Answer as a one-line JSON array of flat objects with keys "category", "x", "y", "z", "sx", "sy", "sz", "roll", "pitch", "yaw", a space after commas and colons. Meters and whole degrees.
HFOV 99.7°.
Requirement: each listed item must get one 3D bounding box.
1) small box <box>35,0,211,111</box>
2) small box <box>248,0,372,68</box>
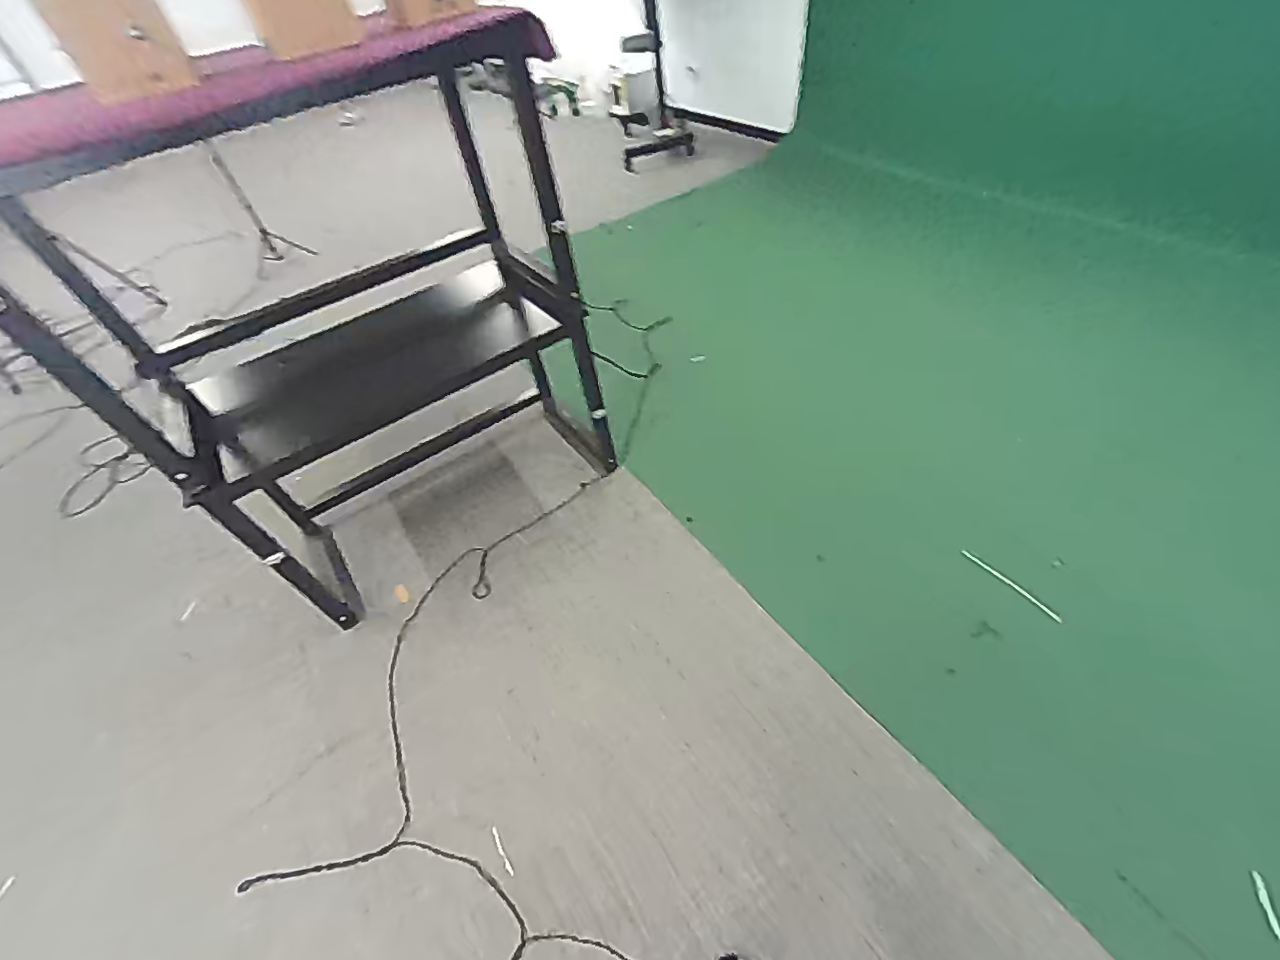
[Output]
[{"category": "small box", "x": -0.940, "y": -0.809, "z": 1.004, "sx": 0.168, "sy": 0.176, "sz": 0.179, "roll": -26, "pitch": 48, "yaw": -15}, {"category": "small box", "x": -0.685, "y": -0.962, "z": 1.101, "sx": 0.179, "sy": 0.176, "sz": 0.168, "roll": -31, "pitch": 50, "yaw": -19}]
